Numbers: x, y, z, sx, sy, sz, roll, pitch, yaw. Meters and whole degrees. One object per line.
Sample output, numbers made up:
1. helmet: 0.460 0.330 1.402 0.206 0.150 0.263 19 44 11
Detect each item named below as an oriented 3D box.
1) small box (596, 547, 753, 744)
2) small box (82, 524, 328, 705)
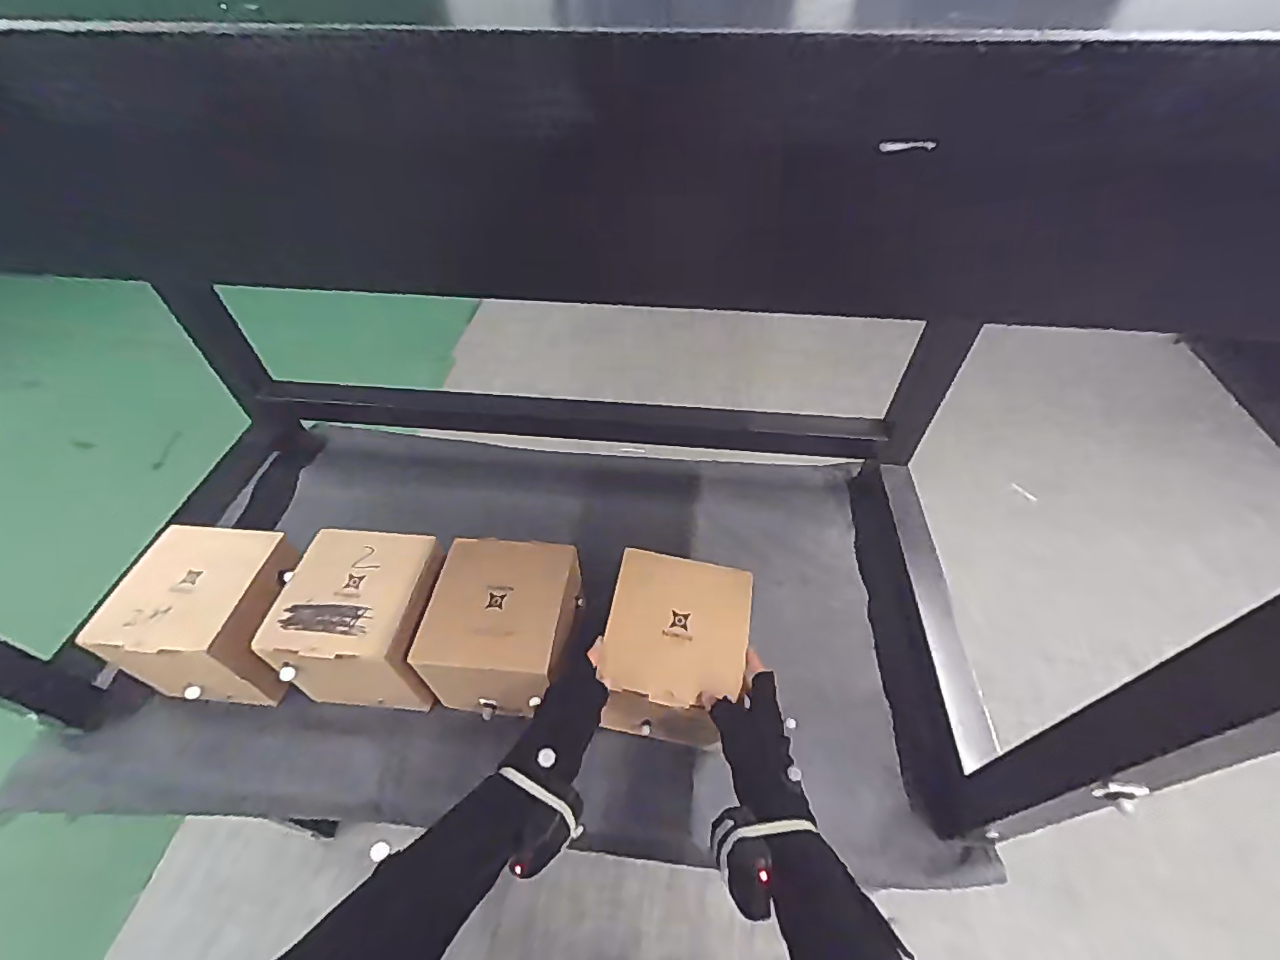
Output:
1. small box: 0.040 0.215 0.691 0.168 0.176 0.179 11 53 3
2. small box: -0.564 0.183 0.738 0.168 0.176 0.179 3 48 4
